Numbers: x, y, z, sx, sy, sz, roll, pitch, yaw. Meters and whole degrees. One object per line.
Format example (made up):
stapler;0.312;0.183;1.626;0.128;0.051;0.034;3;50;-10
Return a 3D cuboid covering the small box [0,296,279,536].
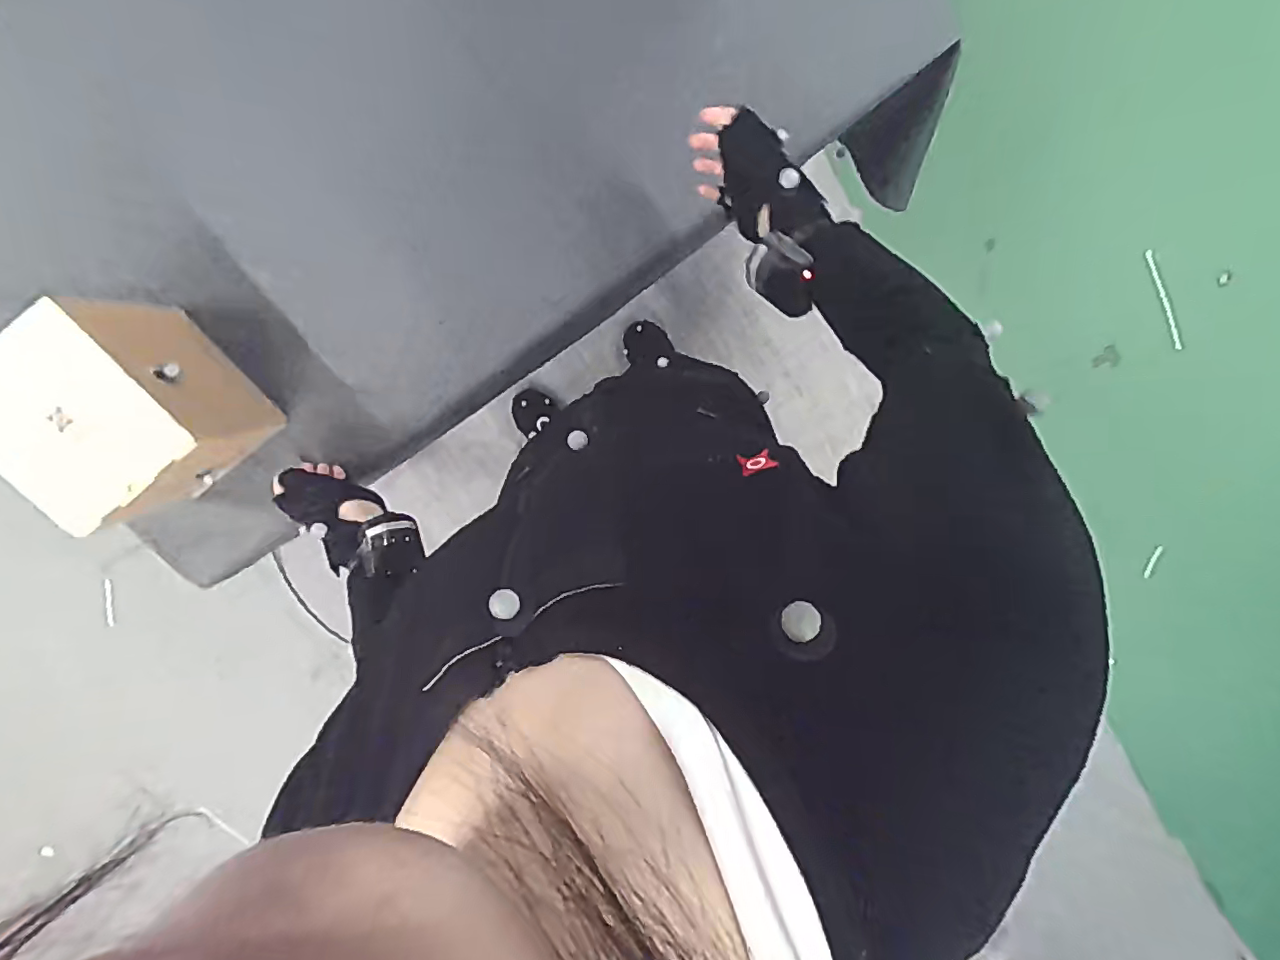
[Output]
small box;-0.559;-0.074;0.595;0.168;0.176;0.179;-37;105;4
